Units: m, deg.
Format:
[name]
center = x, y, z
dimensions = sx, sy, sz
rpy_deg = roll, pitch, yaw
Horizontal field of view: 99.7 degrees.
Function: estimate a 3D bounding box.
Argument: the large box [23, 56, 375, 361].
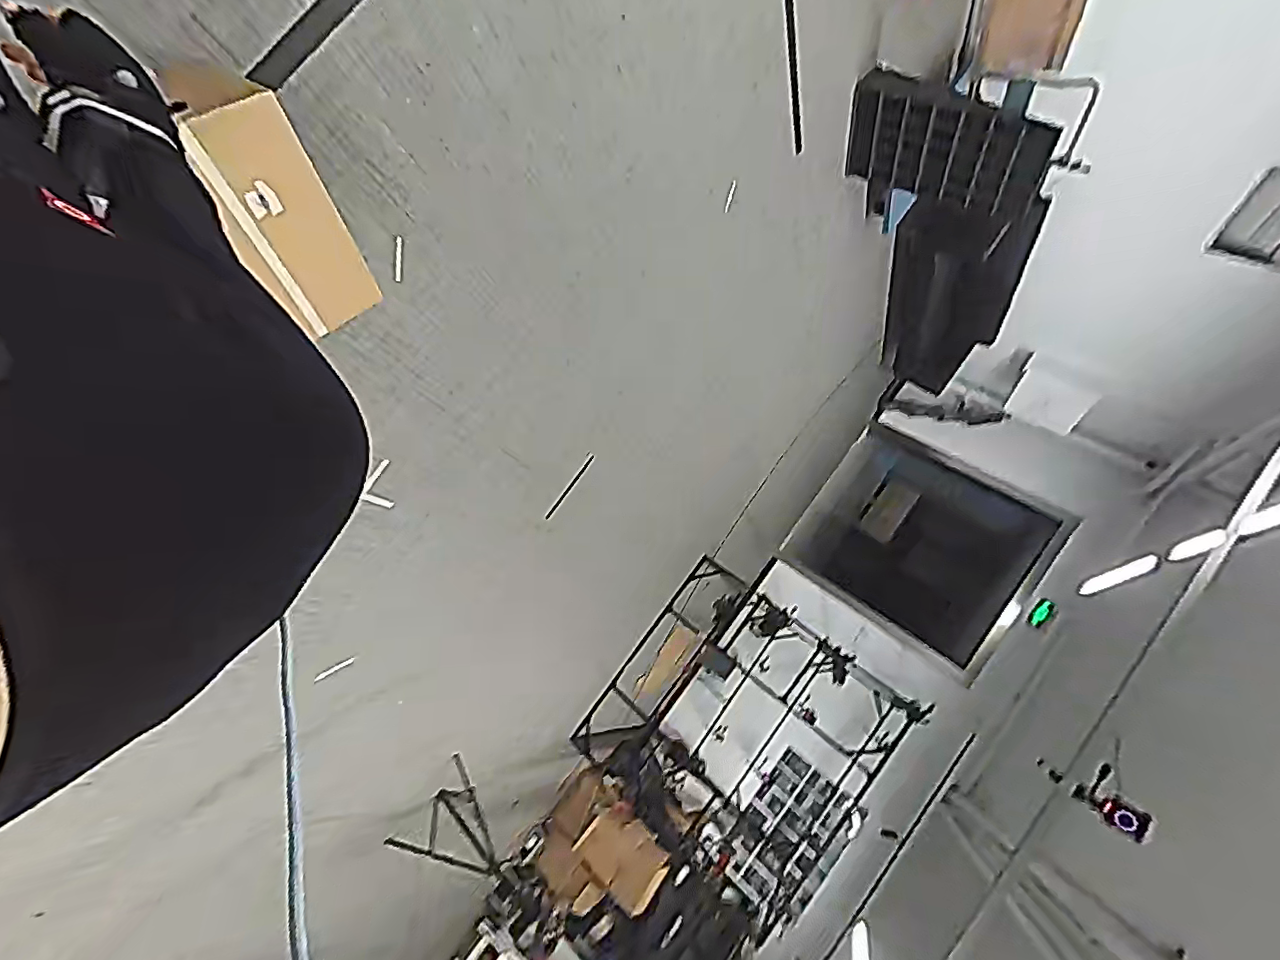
[large box]
center = -0.818, -0.520, 1.055
dimensions = 0.320, 0.320, 0.408
rpy_deg = -43, 150, -23
